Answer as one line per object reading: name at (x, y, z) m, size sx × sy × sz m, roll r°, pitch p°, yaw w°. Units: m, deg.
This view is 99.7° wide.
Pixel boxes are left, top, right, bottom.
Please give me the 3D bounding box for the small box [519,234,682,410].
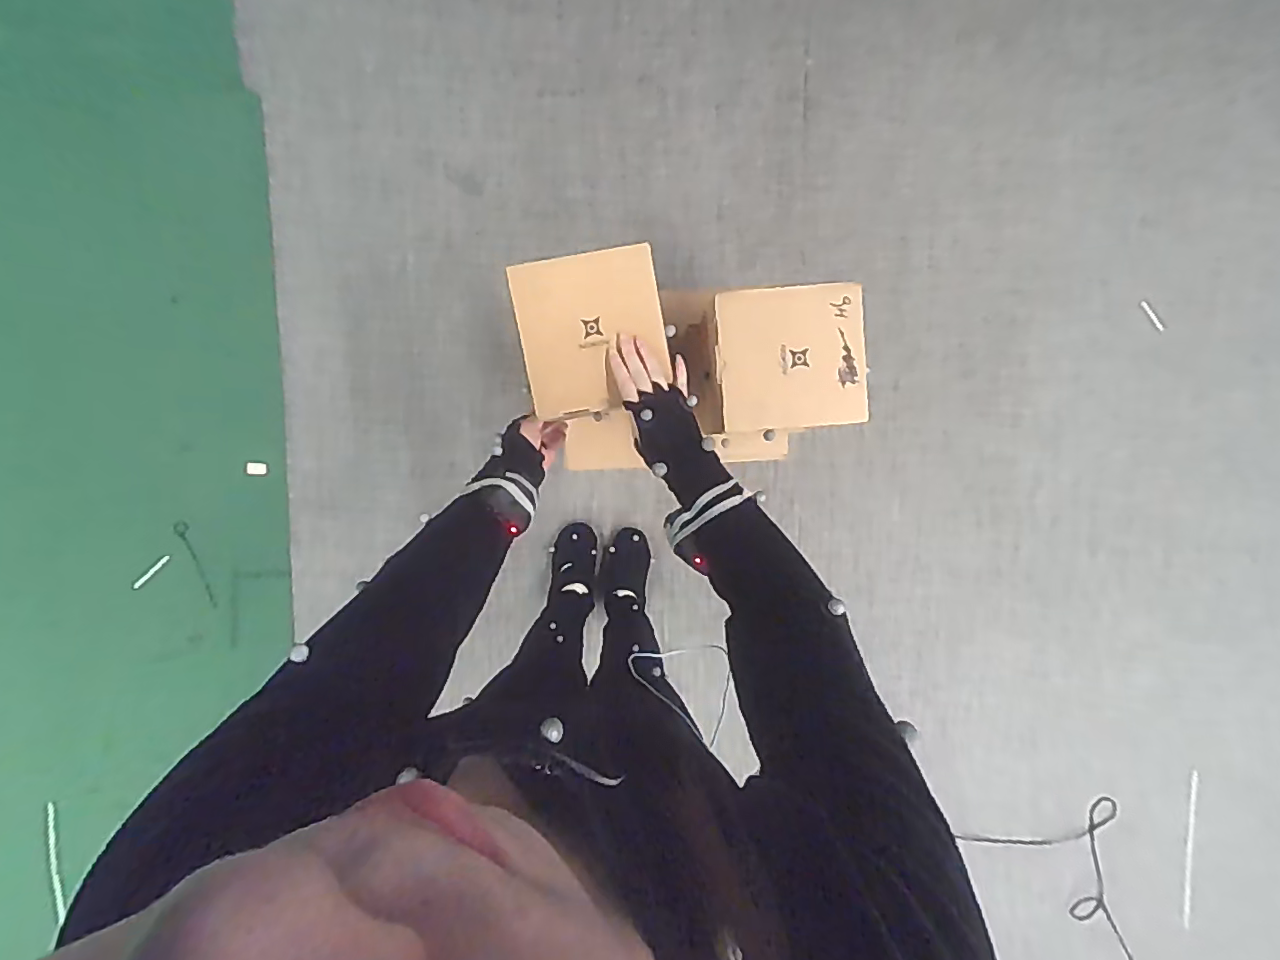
small box at (-0.051, -0.191, 0.699) m, size 0.168 × 0.176 × 0.179 m, roll -11°, pitch 98°, yaw -3°
